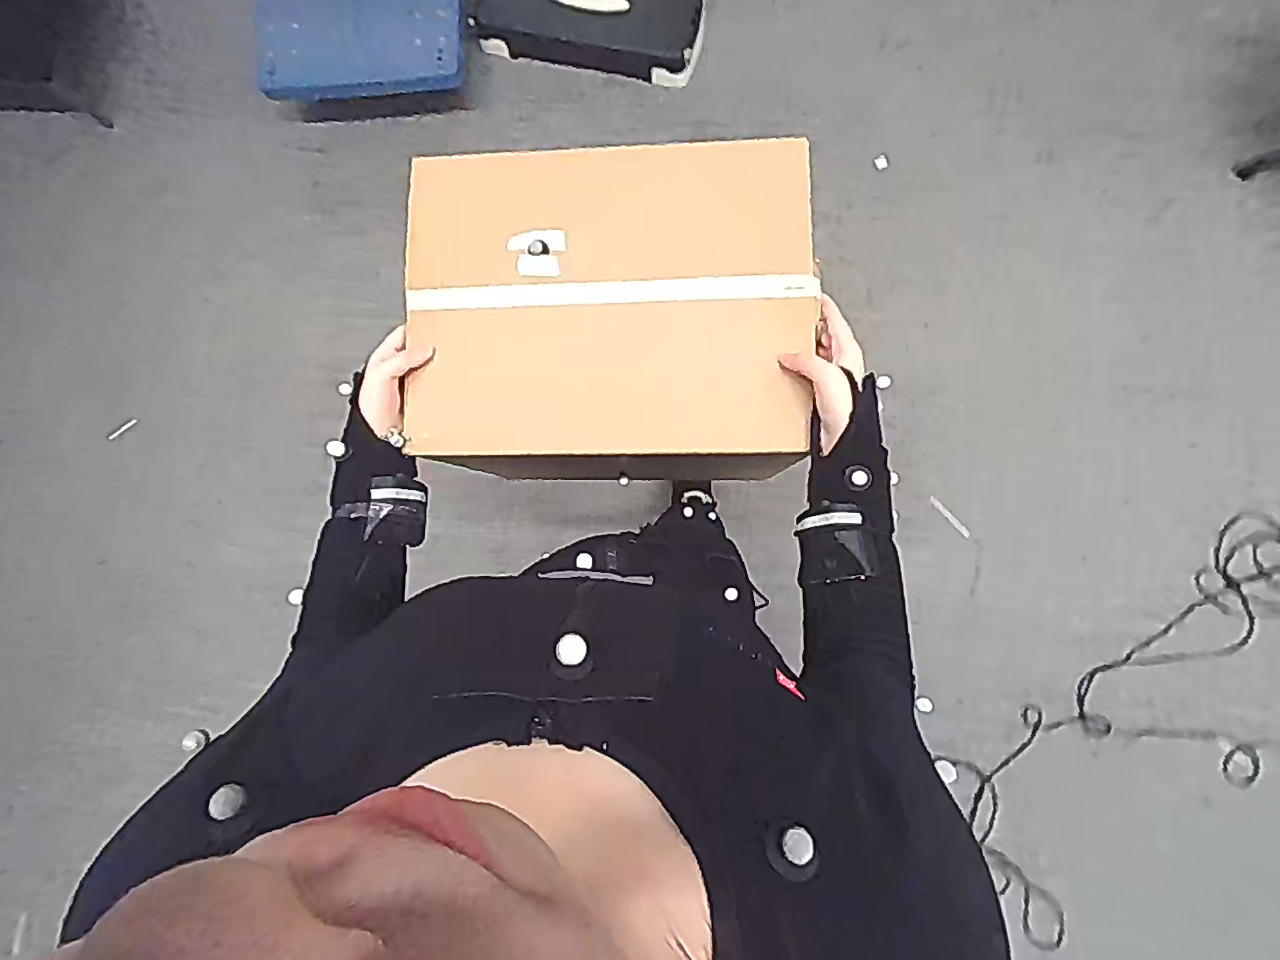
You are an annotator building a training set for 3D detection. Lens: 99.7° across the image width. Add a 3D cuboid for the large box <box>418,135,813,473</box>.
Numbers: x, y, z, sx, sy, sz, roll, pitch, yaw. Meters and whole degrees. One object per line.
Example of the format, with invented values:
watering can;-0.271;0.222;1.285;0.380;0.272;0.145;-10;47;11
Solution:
large box;-0.018;-0.177;0.695;0.408;0.320;0.320;-1;85;6
